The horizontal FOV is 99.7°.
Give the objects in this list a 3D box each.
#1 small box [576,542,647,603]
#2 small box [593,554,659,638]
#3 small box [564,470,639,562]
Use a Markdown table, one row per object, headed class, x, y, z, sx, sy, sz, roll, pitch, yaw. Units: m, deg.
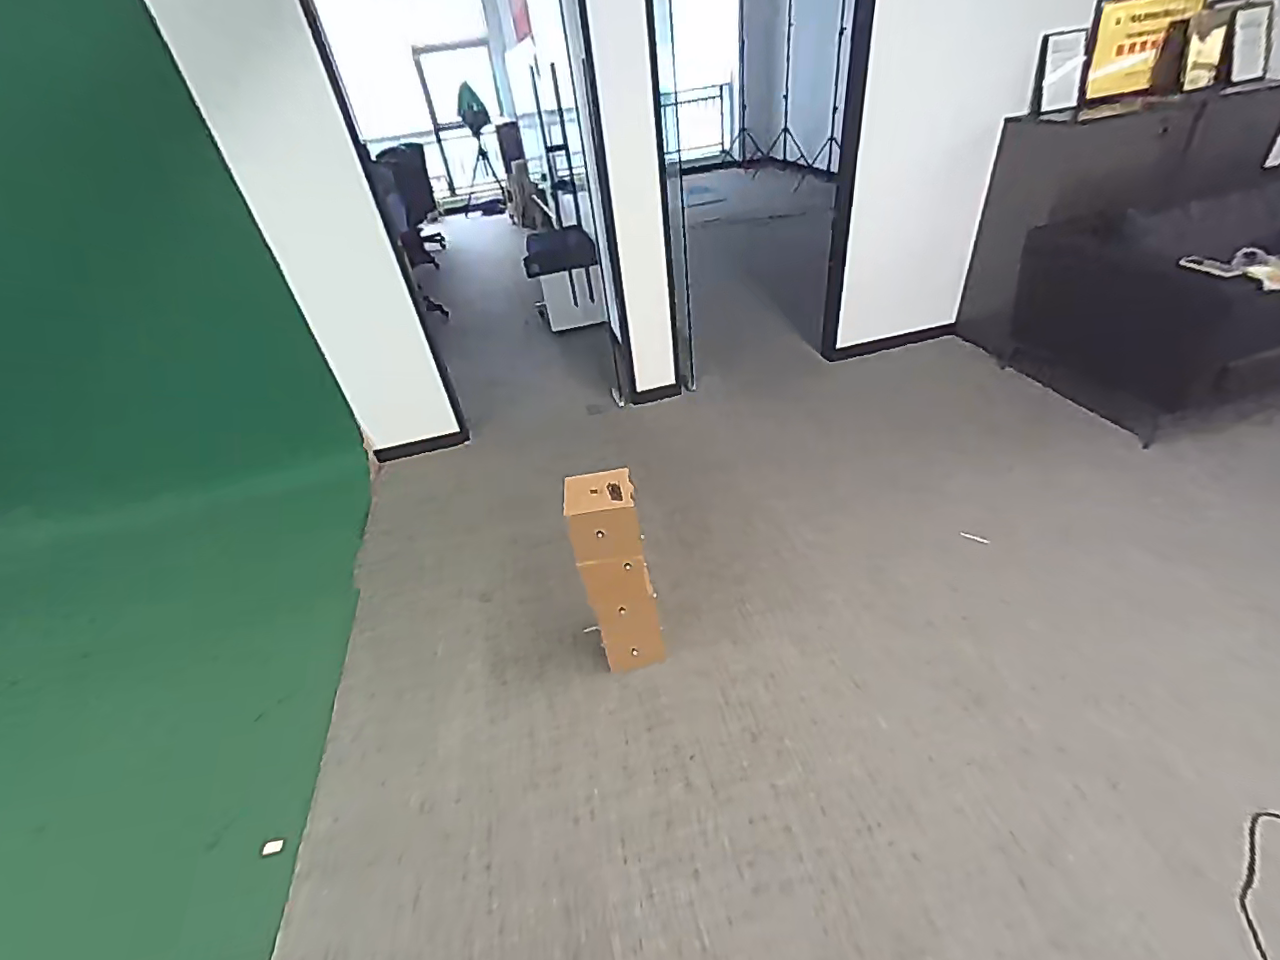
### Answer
| class | x | y | z | sx | sy | sz | roll | pitch | yaw |
| --- | --- | --- | --- | --- | --- | --- | --- | --- | --- |
| small box | -0.082 | 0.230 | 1.546 | 0.179 | 0.176 | 0.168 | -10 | 37 | -2 |
| small box | -0.049 | 0.355 | 1.646 | 0.179 | 0.176 | 0.168 | -12 | 38 | -4 |
| small box | -0.099 | 0.098 | 1.450 | 0.179 | 0.176 | 0.168 | -9 | 37 | 1 |
